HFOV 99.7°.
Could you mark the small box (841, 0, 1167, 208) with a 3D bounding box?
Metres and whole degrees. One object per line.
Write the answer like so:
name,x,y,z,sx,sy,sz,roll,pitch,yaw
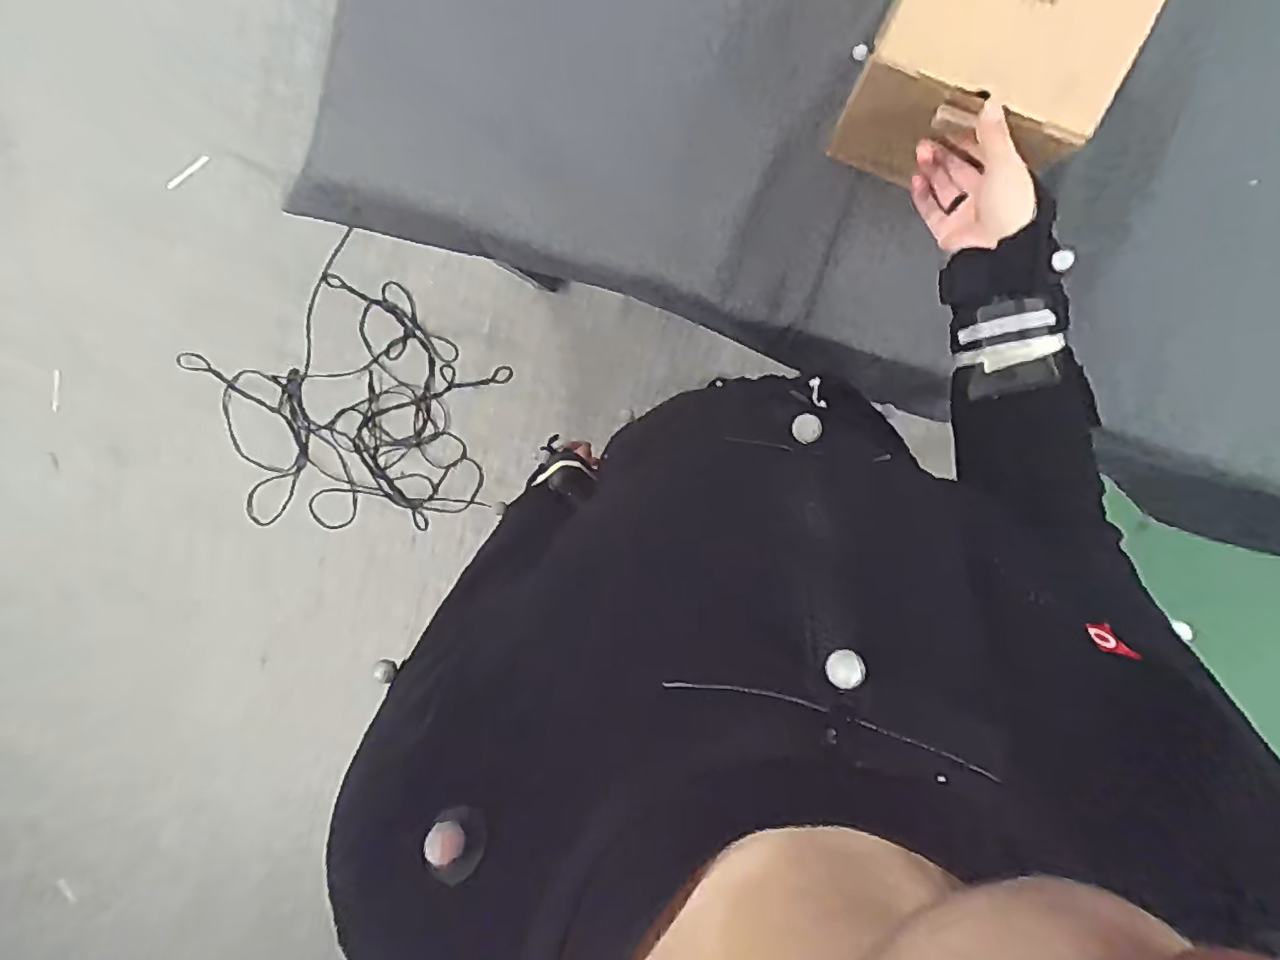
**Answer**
small box,0.291,-0.362,0.454,0.168,0.176,0.179,23,100,2
